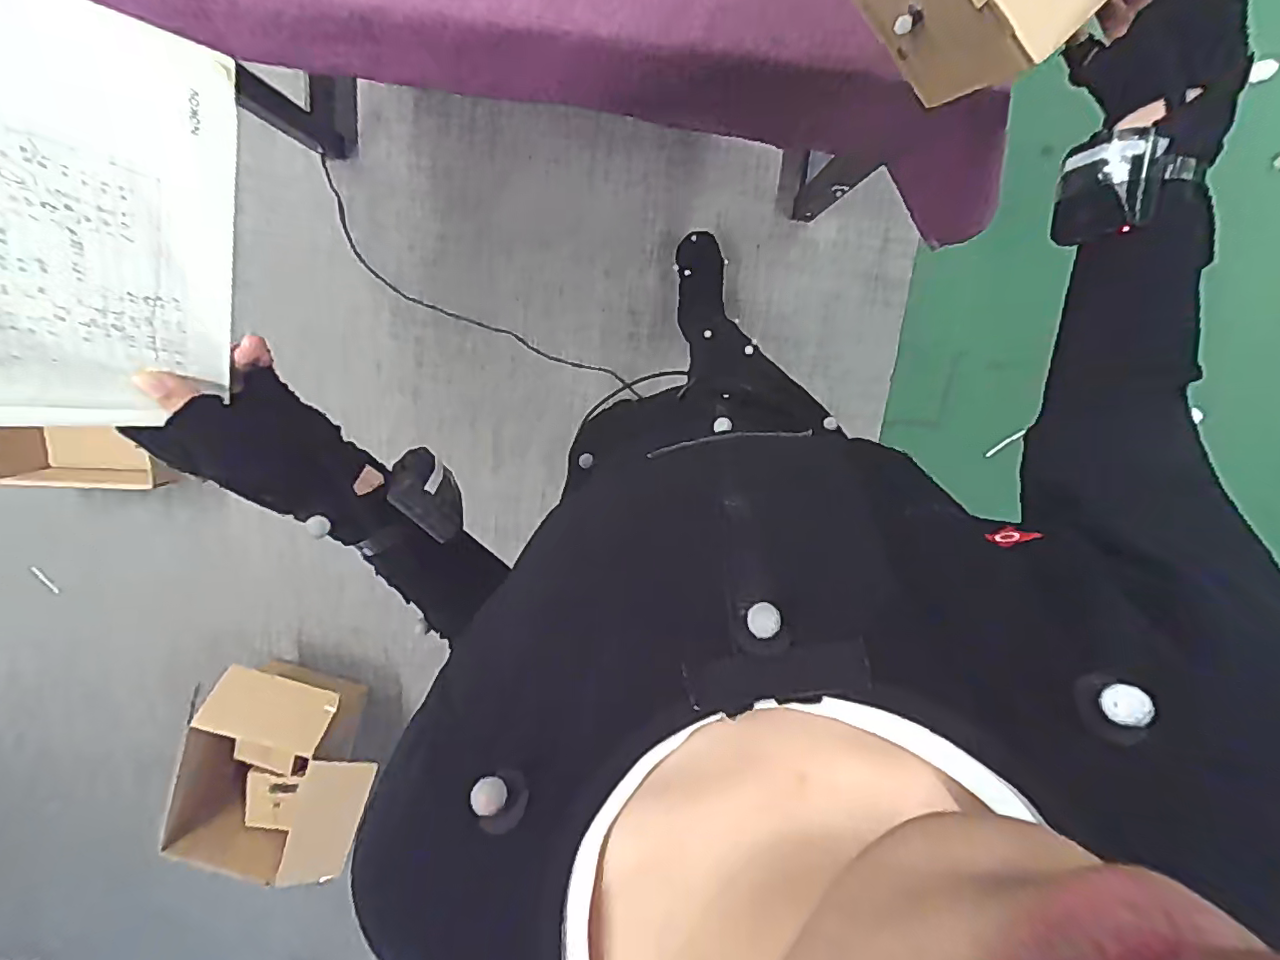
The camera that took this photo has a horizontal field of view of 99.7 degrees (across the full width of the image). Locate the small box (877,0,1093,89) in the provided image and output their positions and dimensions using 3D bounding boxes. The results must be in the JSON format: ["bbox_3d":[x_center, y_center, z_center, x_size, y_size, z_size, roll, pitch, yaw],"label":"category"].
[{"bbox_3d":[0.293,-0.452,0.420,0.168,0.176,0.179,40,112,-17],"label":"small box"}]
